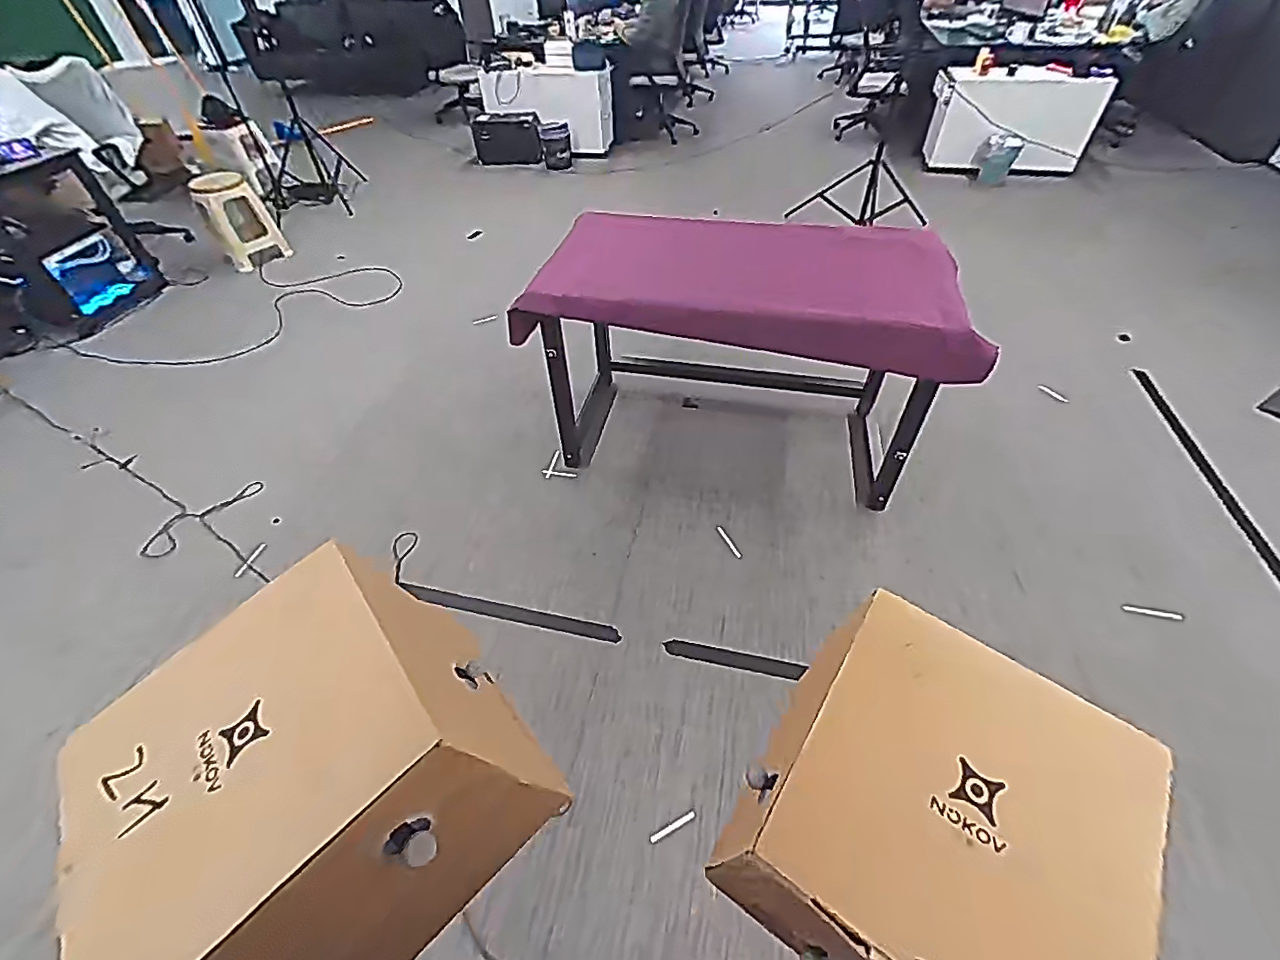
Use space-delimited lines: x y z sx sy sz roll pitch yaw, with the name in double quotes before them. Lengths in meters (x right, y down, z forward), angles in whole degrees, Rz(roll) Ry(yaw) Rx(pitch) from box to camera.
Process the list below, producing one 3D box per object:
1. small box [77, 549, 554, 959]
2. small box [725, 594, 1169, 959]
"small box" -0.174 0.183 0.333 0.179 0.176 0.168 -42 51 -15
"small box" 0.170 0.213 0.341 0.168 0.176 0.179 30 57 20
